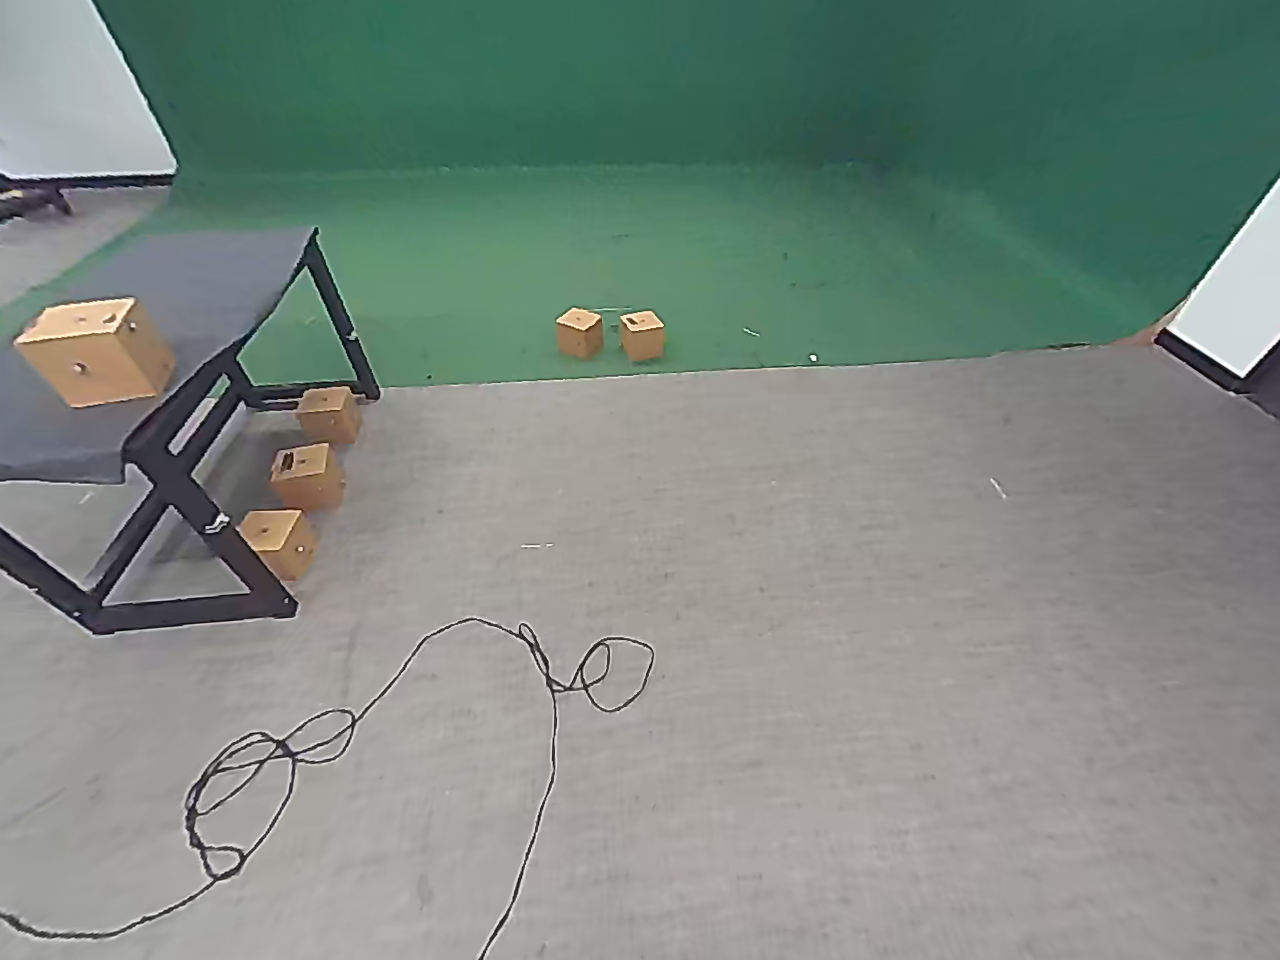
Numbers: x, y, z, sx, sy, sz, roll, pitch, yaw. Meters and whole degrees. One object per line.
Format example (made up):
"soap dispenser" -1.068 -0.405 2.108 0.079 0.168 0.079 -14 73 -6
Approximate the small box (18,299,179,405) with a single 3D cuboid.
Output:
"small box" -1.222 -0.290 1.239 0.179 0.176 0.168 -13 47 -13

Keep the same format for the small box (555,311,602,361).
"small box" -0.301 -0.719 2.704 0.179 0.176 0.168 21 48 20

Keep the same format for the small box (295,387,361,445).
"small box" -1.281 -0.265 2.236 0.179 0.176 0.168 -7 45 -8

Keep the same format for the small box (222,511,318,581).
"small box" -1.194 0.218 1.765 0.179 0.176 0.168 -1 46 -1

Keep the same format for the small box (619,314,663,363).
"small box" 0.006 -0.699 2.689 0.179 0.176 0.168 -15 47 -16
